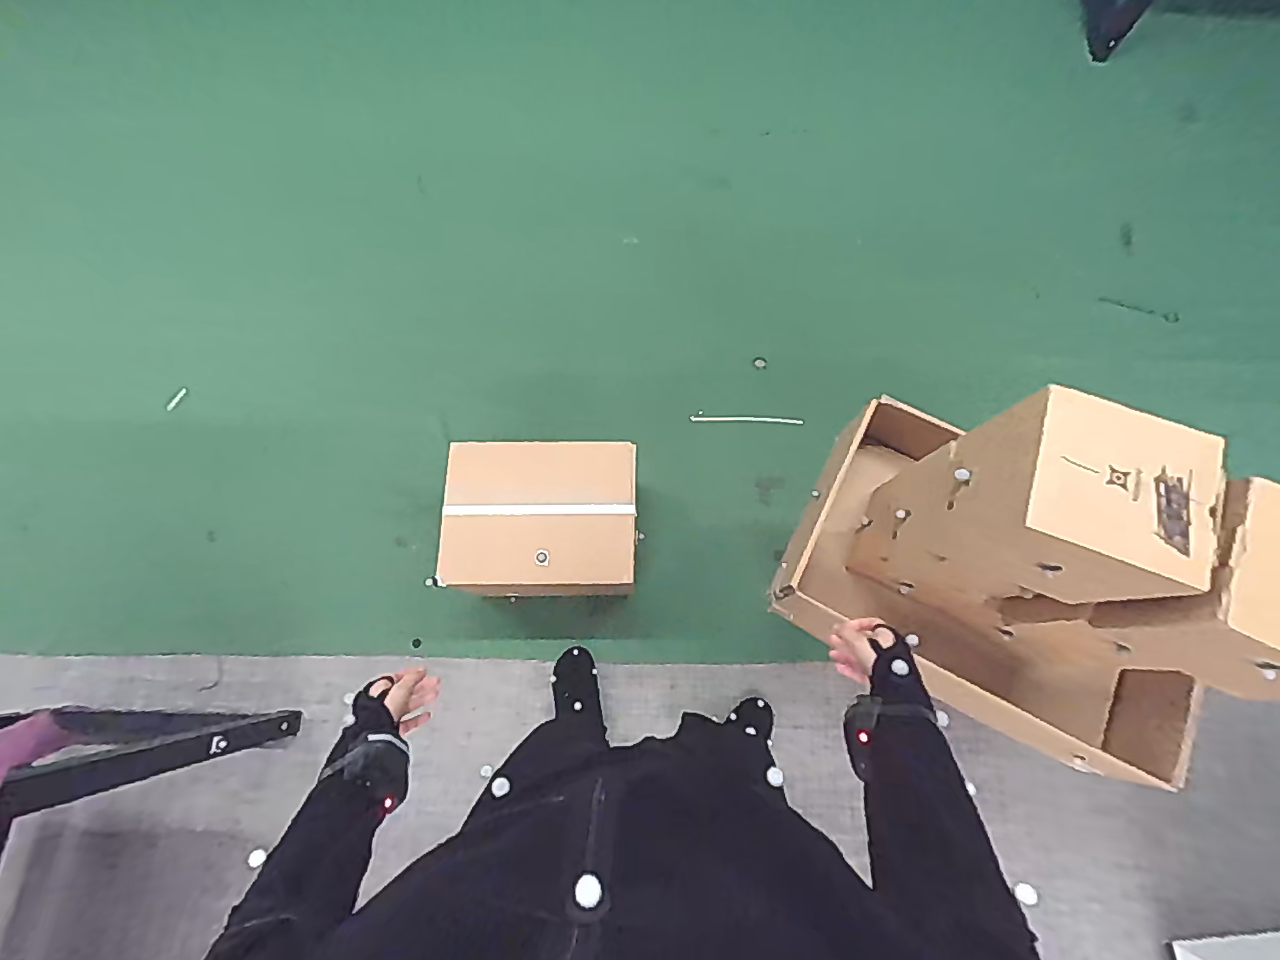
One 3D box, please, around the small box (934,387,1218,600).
[{"bbox_3d":[0.471,0.027,0.607,0.179,0.176,0.168,20,73,7],"label":"small box"}]
